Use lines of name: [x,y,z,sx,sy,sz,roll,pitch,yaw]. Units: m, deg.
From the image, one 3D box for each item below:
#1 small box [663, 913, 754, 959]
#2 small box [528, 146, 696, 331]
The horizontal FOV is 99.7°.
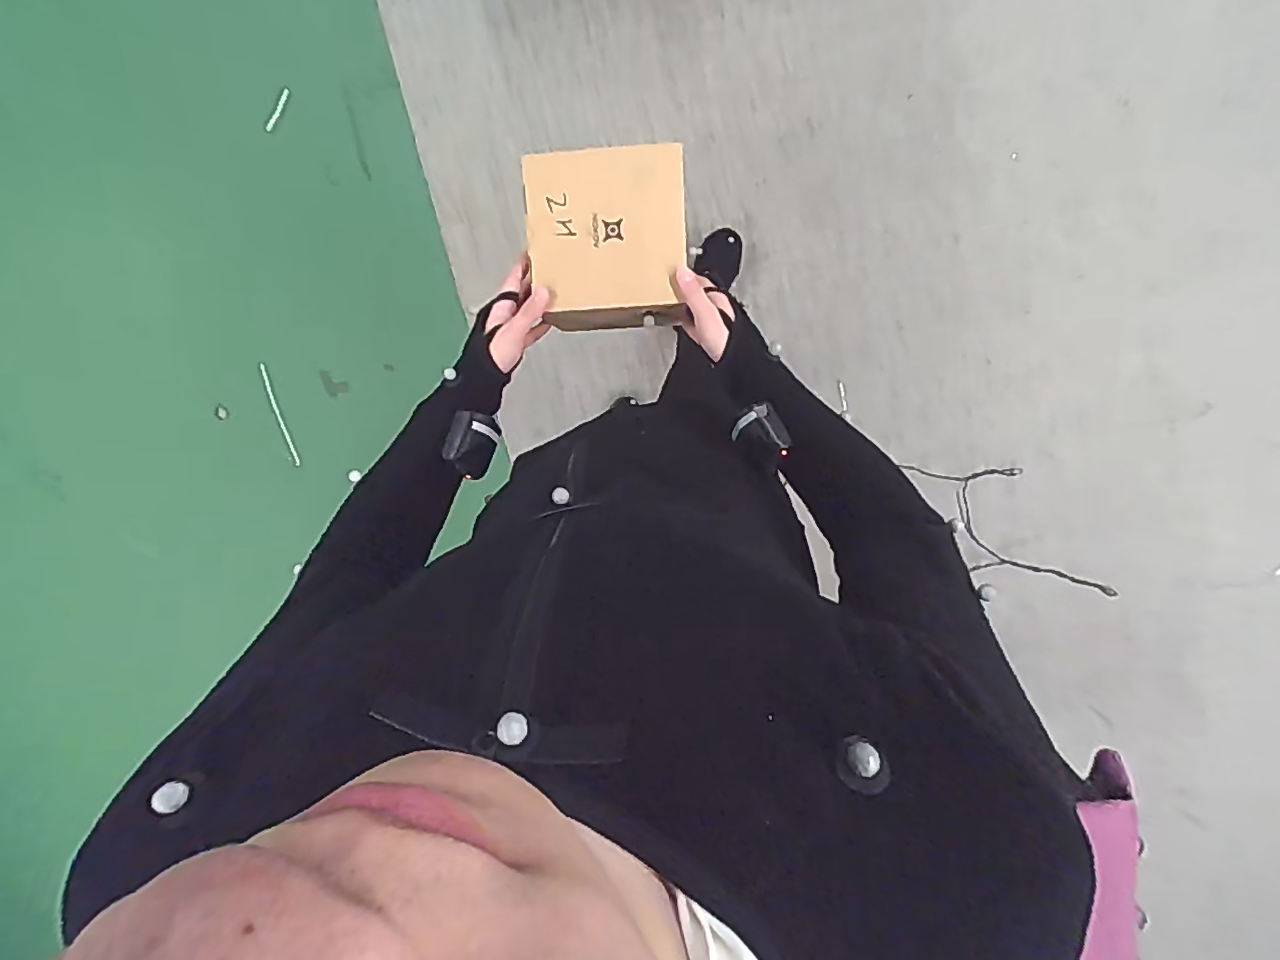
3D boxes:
small box: [0.135,0.987,1.053,0.179,0.176,0.168,-2,106,4]
small box: [-0.026,-0.280,0.662,0.179,0.176,0.168,-3,98,4]
